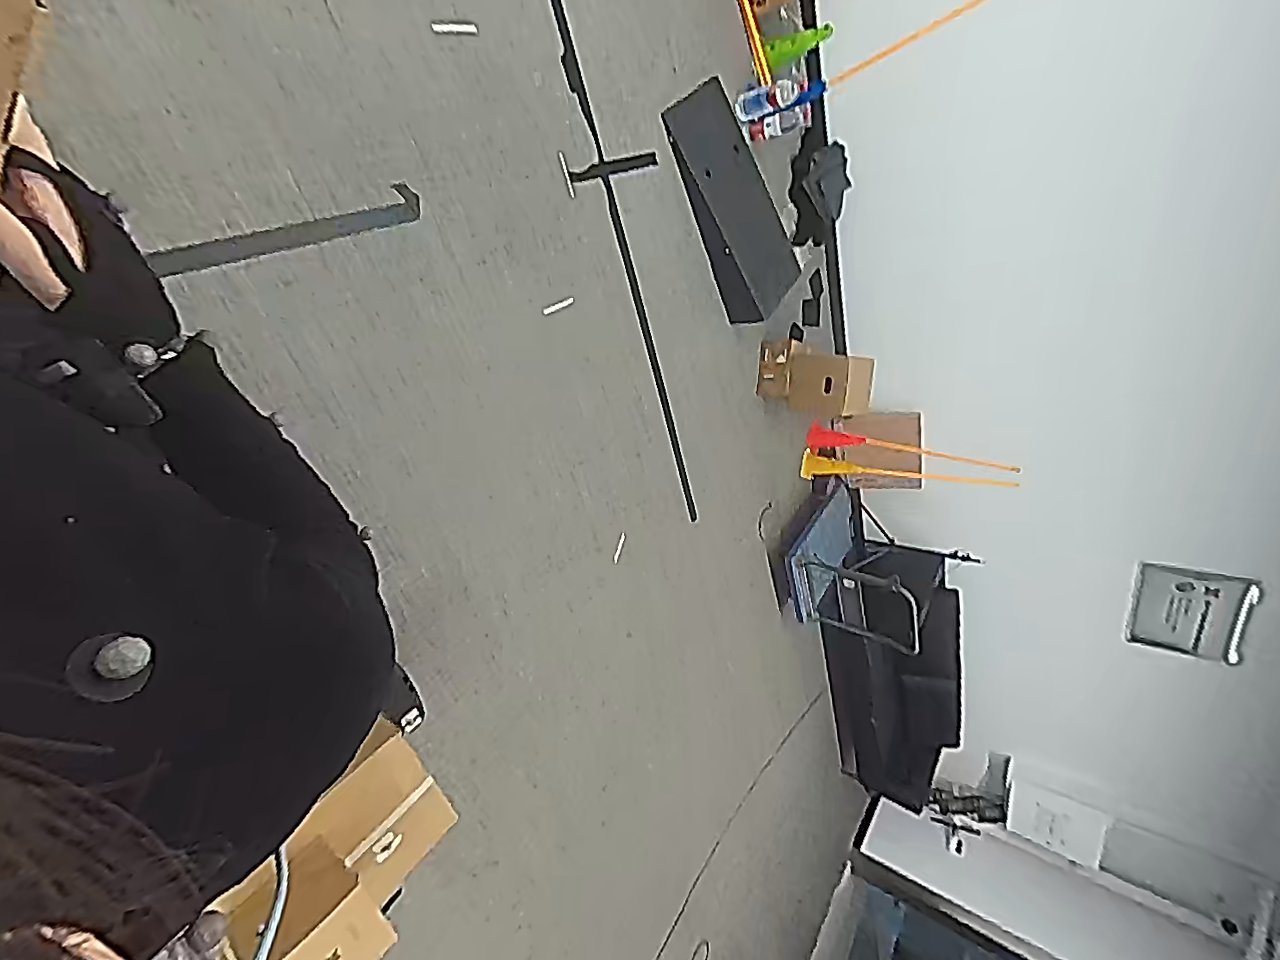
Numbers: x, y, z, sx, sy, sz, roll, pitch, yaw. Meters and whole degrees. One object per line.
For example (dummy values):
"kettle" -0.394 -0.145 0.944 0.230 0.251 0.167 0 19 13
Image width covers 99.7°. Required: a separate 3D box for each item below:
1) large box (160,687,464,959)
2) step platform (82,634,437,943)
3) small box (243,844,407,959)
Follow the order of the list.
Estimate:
"large box" -0.674 0.736 1.149 0.408 0.320 0.320 -40 125 -39
"step platform" -0.847 0.689 1.307 0.684 0.204 0.286 -34 120 -42
"small box" -0.545 0.788 0.929 0.179 0.176 0.168 -35 121 -41
